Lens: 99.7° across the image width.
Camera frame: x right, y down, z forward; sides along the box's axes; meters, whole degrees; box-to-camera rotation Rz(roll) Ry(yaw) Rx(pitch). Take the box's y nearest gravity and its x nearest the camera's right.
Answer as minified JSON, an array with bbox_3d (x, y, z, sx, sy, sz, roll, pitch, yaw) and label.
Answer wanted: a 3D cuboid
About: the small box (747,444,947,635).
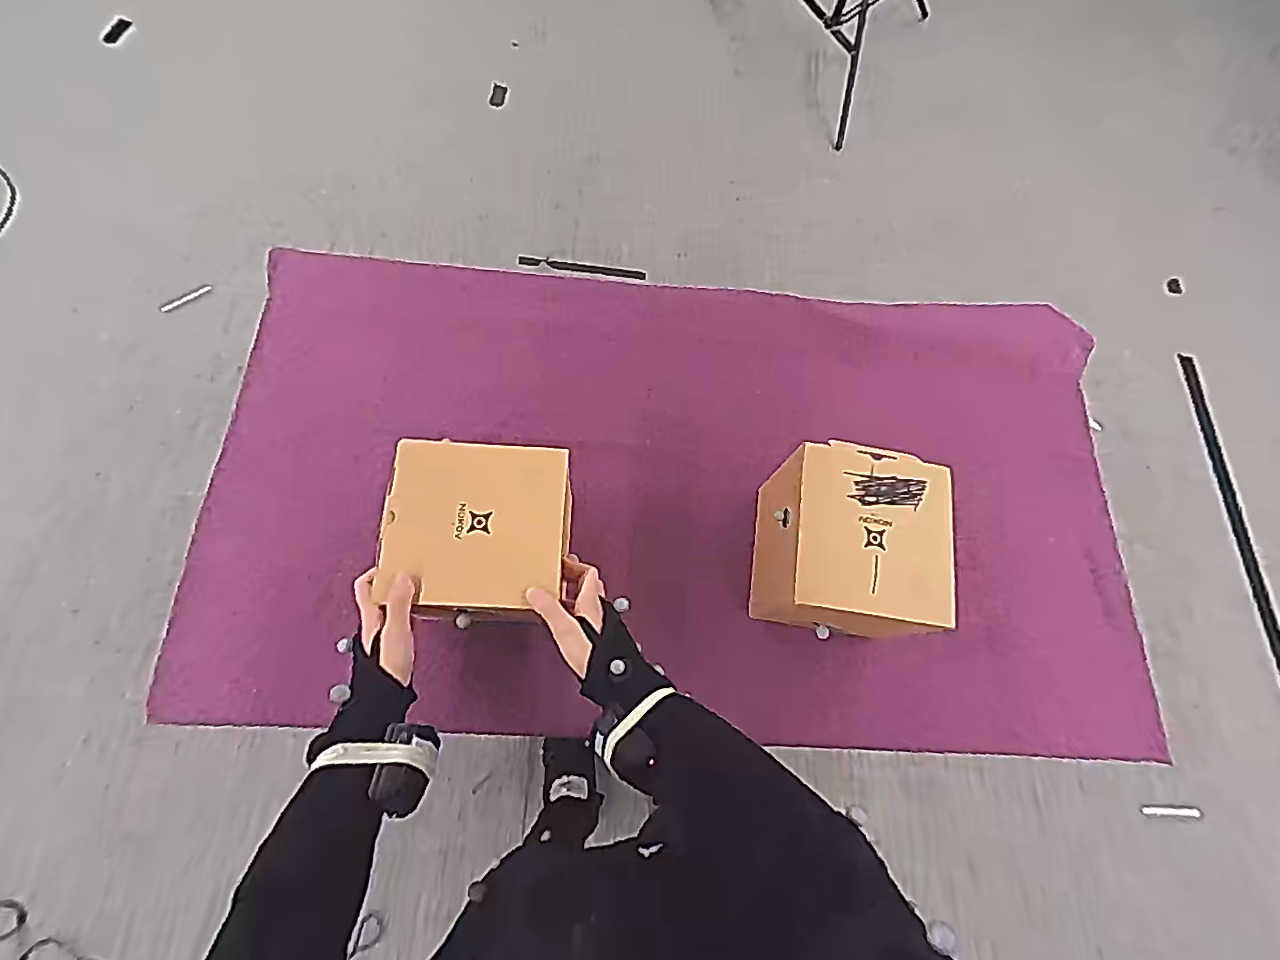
[{"bbox_3d":[0.232,0.079,0.640,0.168,0.176,0.179,9,71,-1],"label":"small box"}]

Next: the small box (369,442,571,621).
[{"bbox_3d":[-0.171,0.068,0.610,0.179,0.176,0.168,3,72,-4],"label":"small box"}]
